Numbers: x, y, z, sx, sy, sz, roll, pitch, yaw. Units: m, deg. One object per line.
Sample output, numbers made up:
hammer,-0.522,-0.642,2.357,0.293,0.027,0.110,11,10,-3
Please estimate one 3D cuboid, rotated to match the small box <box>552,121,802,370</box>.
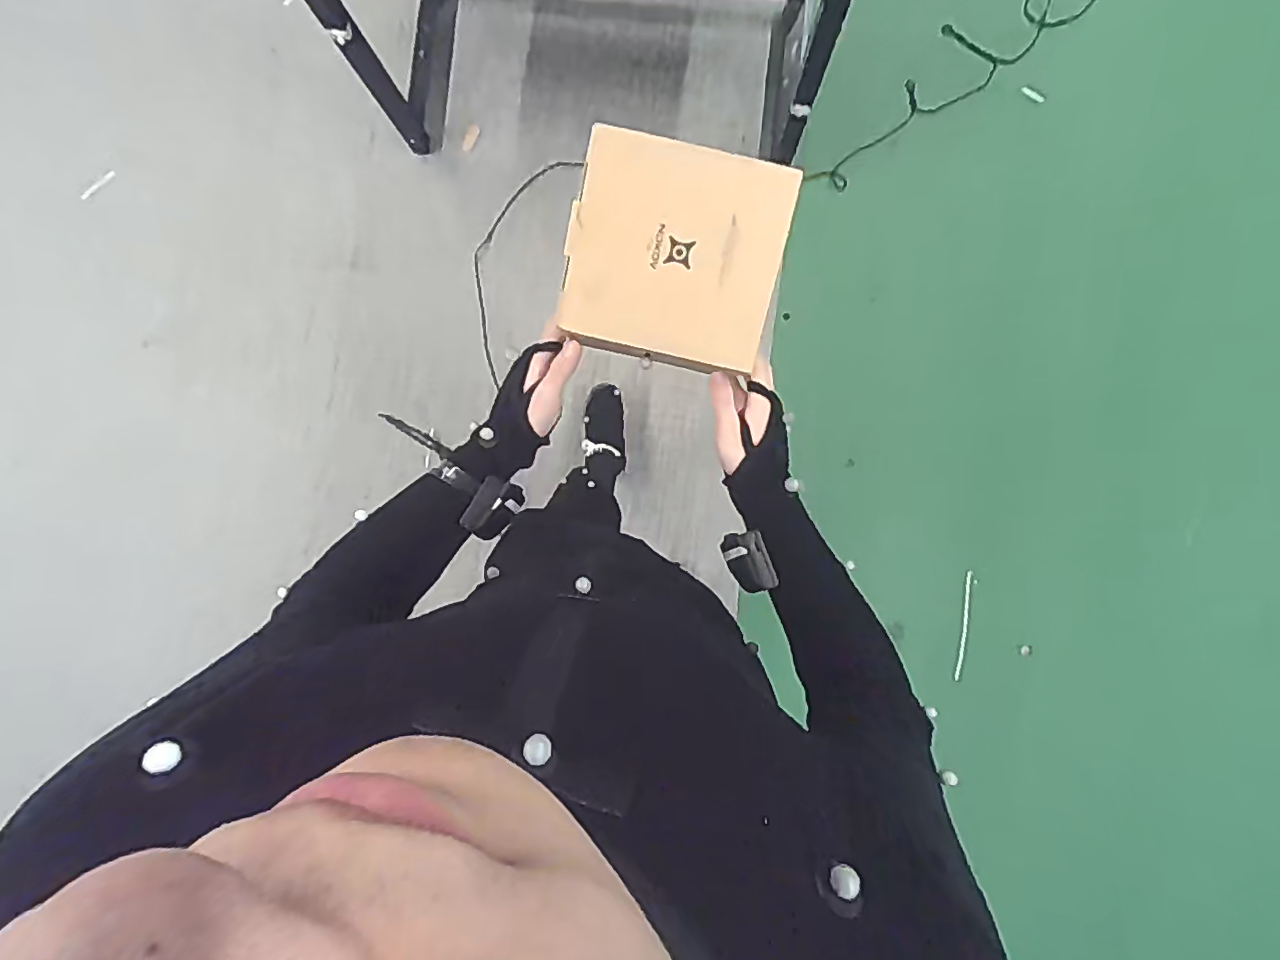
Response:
small box,0.030,-0.204,0.524,0.179,0.176,0.168,13,100,0
